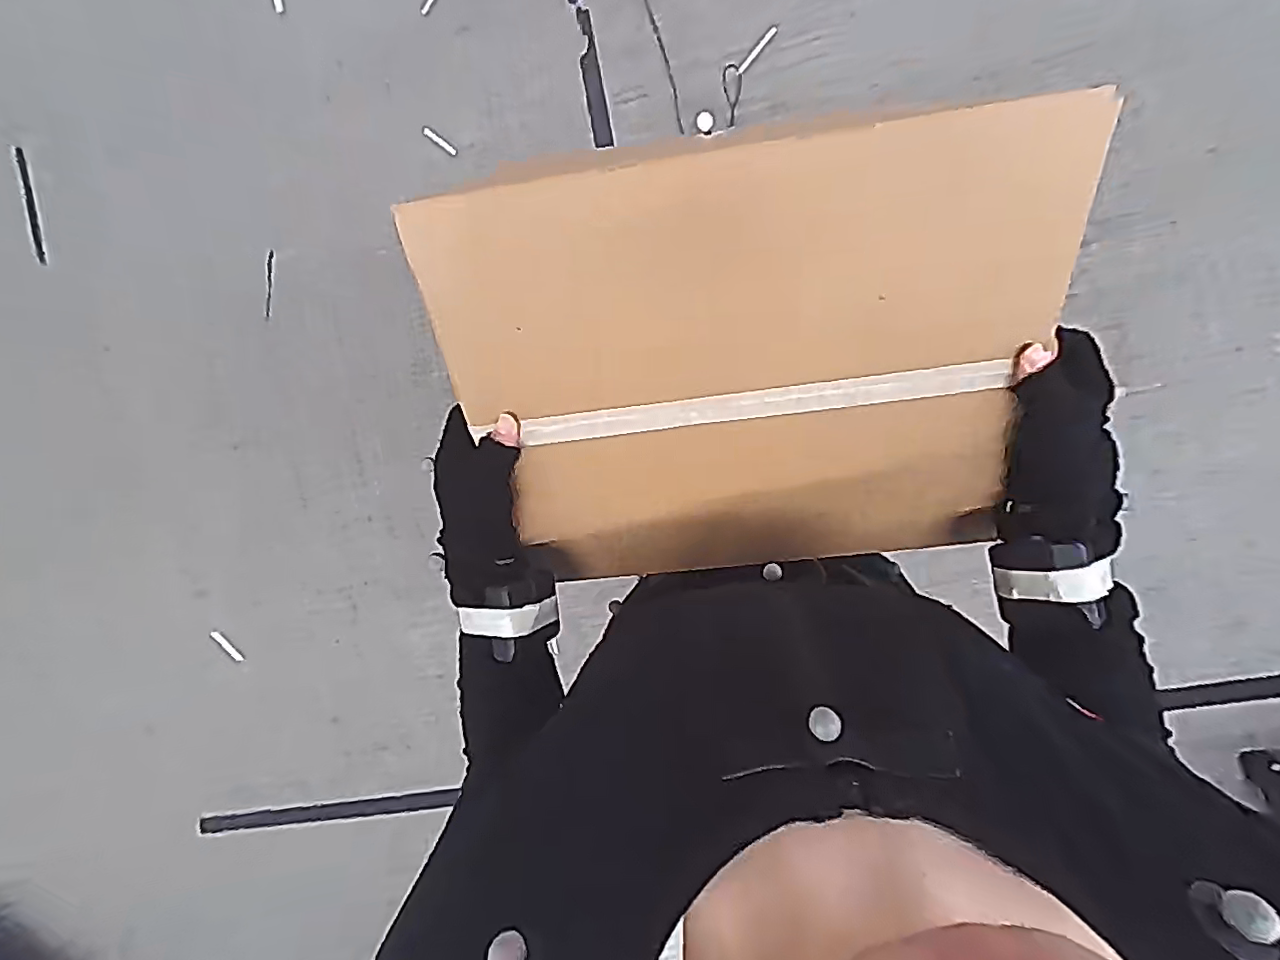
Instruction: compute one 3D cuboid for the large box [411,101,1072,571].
[{"bbox_3d":[0.075,-0.147,0.526,0.408,0.320,0.320,-6,124,6],"label":"large box"}]
